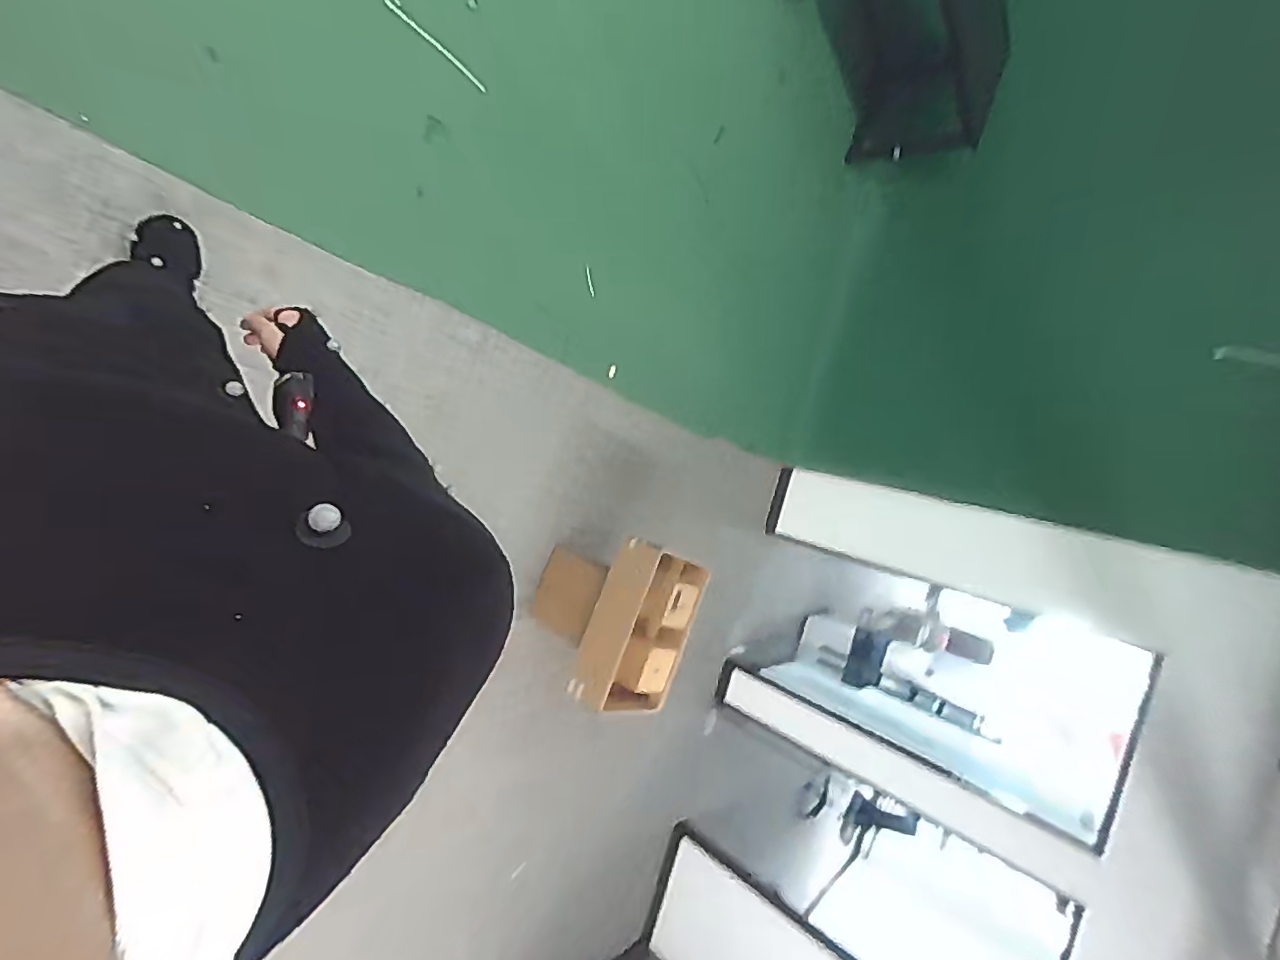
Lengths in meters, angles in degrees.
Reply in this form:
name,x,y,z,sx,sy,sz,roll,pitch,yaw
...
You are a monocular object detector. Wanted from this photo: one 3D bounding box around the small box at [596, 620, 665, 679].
name,x,y,z,sx,sy,sz,roll,pitch,yaw
small box,-0.039,0.657,2.100,0.179,0.176,0.168,27,83,-50
